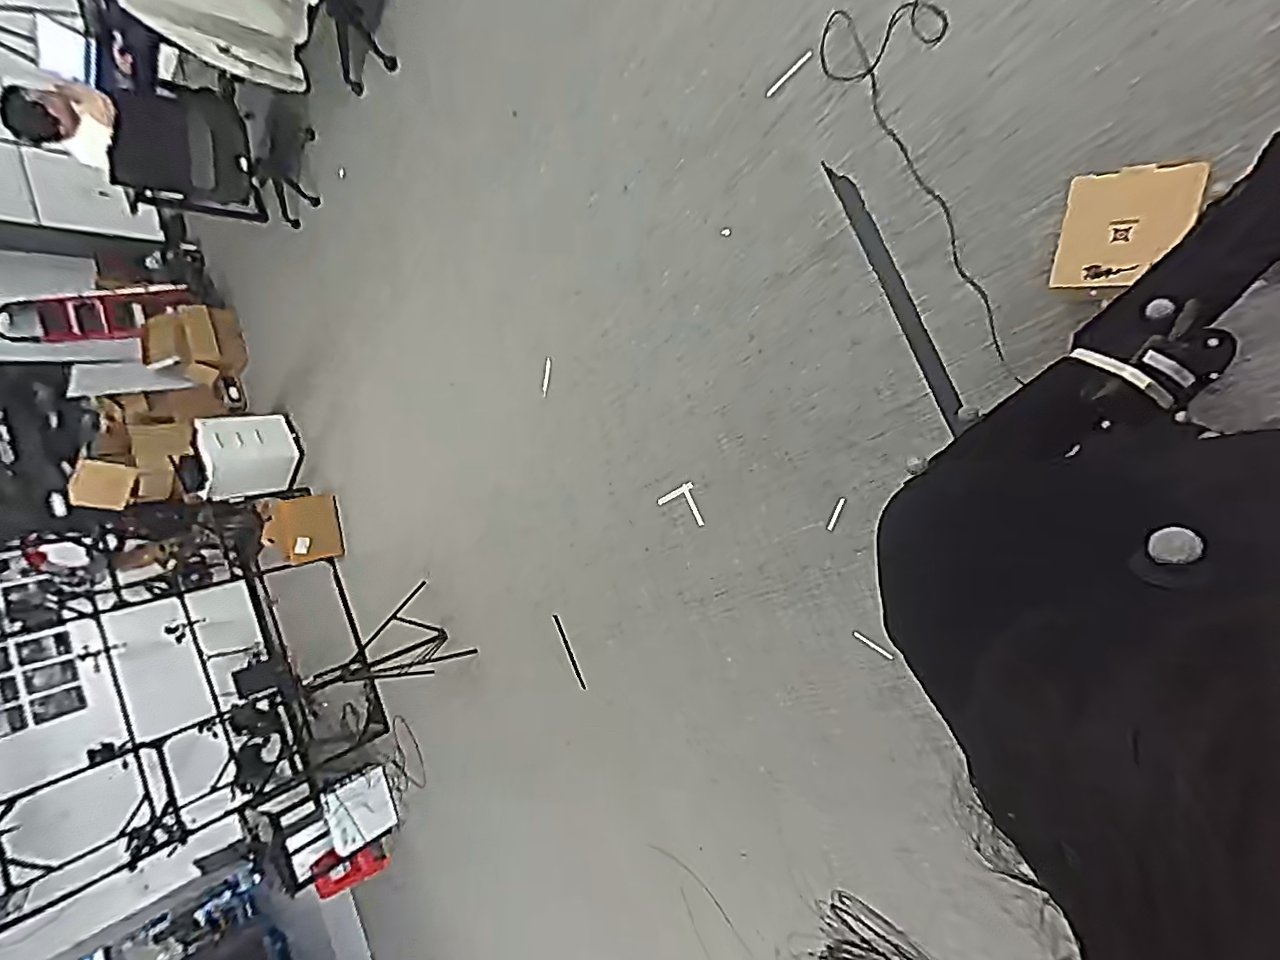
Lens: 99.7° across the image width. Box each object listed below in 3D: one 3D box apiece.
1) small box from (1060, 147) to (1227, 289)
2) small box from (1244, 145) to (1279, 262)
[{"bbox_3d":[0.825,-0.421,0.901,0.168,0.176,0.179,14,109,39],"label":"small box"},{"bbox_3d":[0.597,-0.258,0.381,0.168,0.176,0.179,22,94,28],"label":"small box"}]
